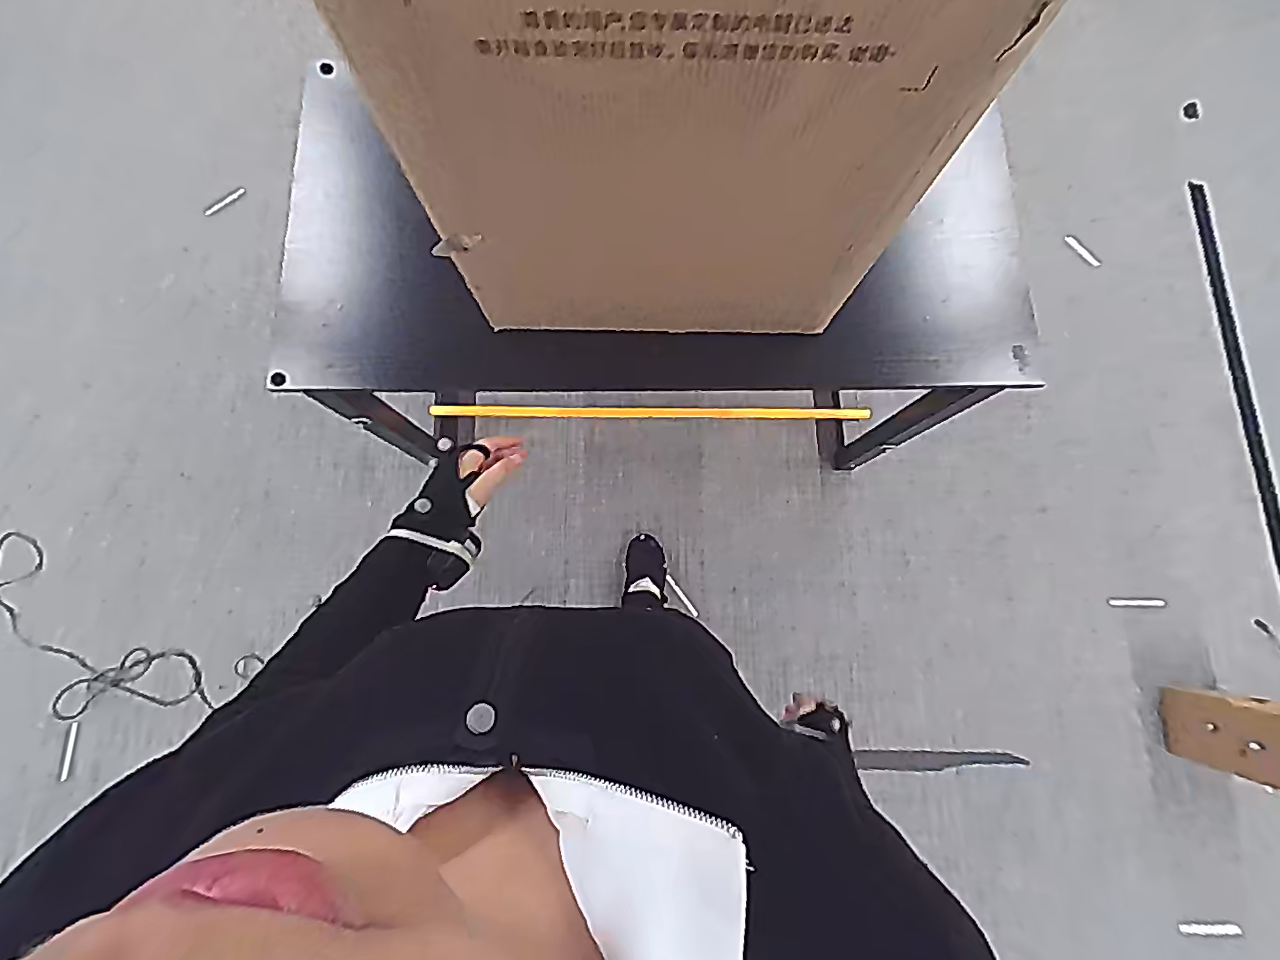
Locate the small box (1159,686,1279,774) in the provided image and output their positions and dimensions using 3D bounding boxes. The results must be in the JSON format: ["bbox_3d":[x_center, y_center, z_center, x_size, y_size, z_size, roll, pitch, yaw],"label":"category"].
[{"bbox_3d":[1.482,0.632,1.378,0.168,0.176,0.179,4,80,0],"label":"small box"}]

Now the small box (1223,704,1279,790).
[{"bbox_3d":[1.490,0.609,1.214,0.179,0.176,0.168,4,79,0],"label":"small box"}]
